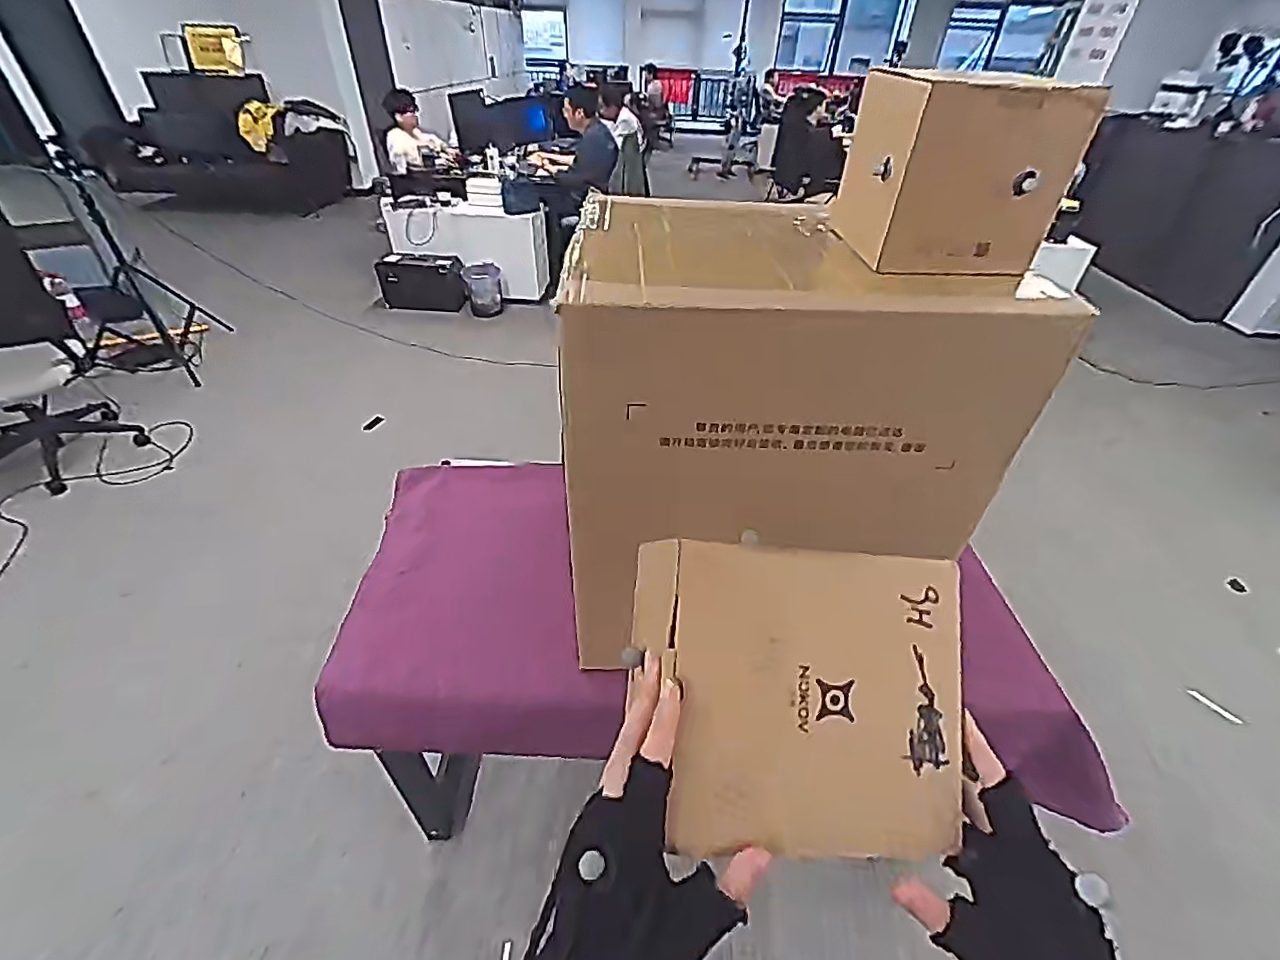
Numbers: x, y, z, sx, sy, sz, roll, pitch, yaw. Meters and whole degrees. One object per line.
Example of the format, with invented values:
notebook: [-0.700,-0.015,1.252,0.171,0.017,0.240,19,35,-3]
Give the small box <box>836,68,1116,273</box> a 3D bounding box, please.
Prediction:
small box: [0.334,-0.335,0.585,0.168,0.176,0.179,1,39,-2]
